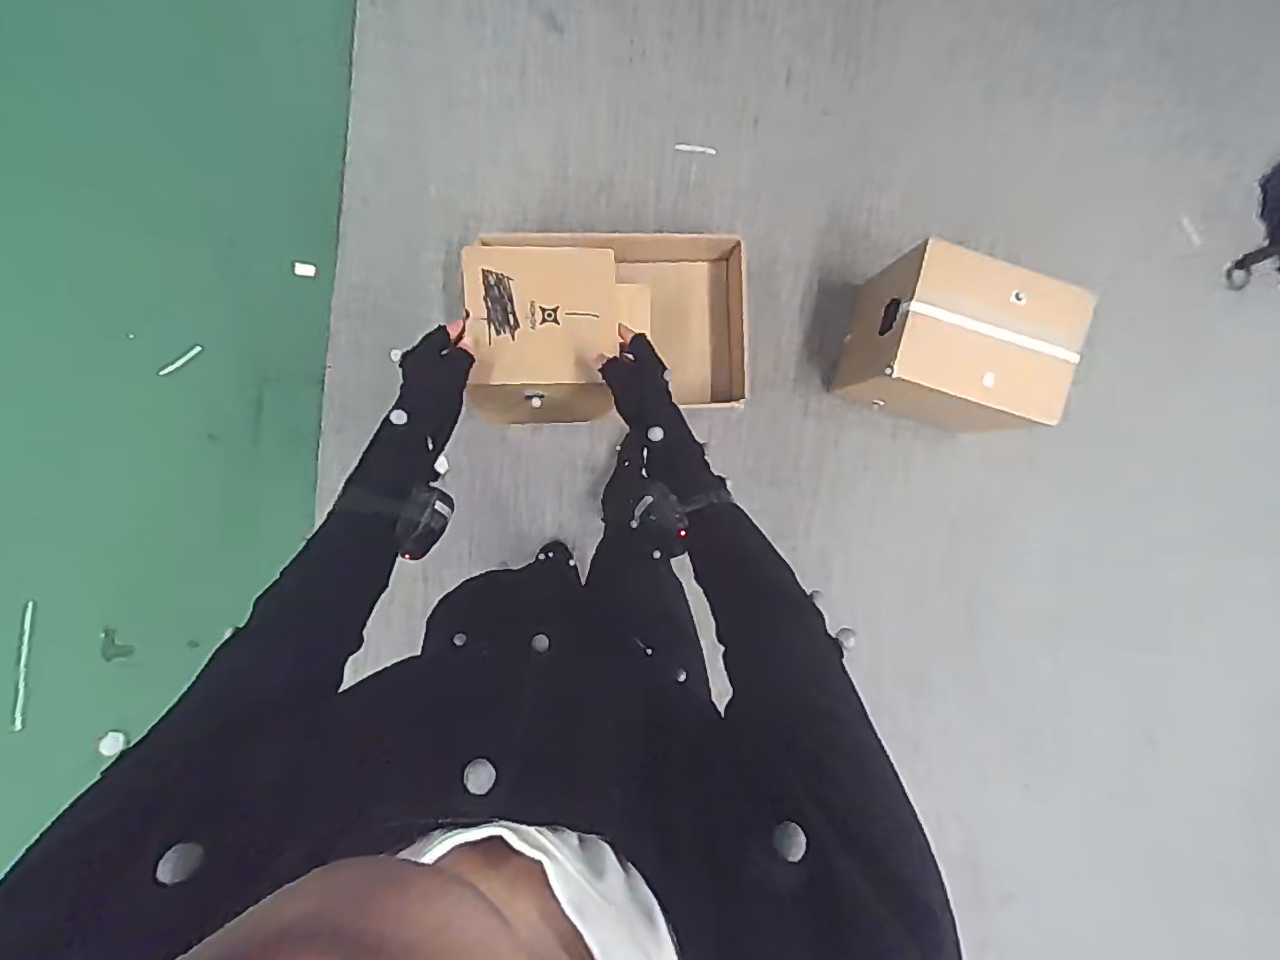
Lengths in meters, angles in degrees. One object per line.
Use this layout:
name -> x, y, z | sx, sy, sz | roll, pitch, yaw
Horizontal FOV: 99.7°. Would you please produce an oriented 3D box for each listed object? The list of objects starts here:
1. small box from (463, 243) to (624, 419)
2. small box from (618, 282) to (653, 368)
small box -> -0.119, -0.177, 0.686 | 0.179, 0.176, 0.168 | -3, 82, -9
small box -> -0.064, -0.364, 1.291 | 0.179, 0.176, 0.168 | -1, 92, -6
